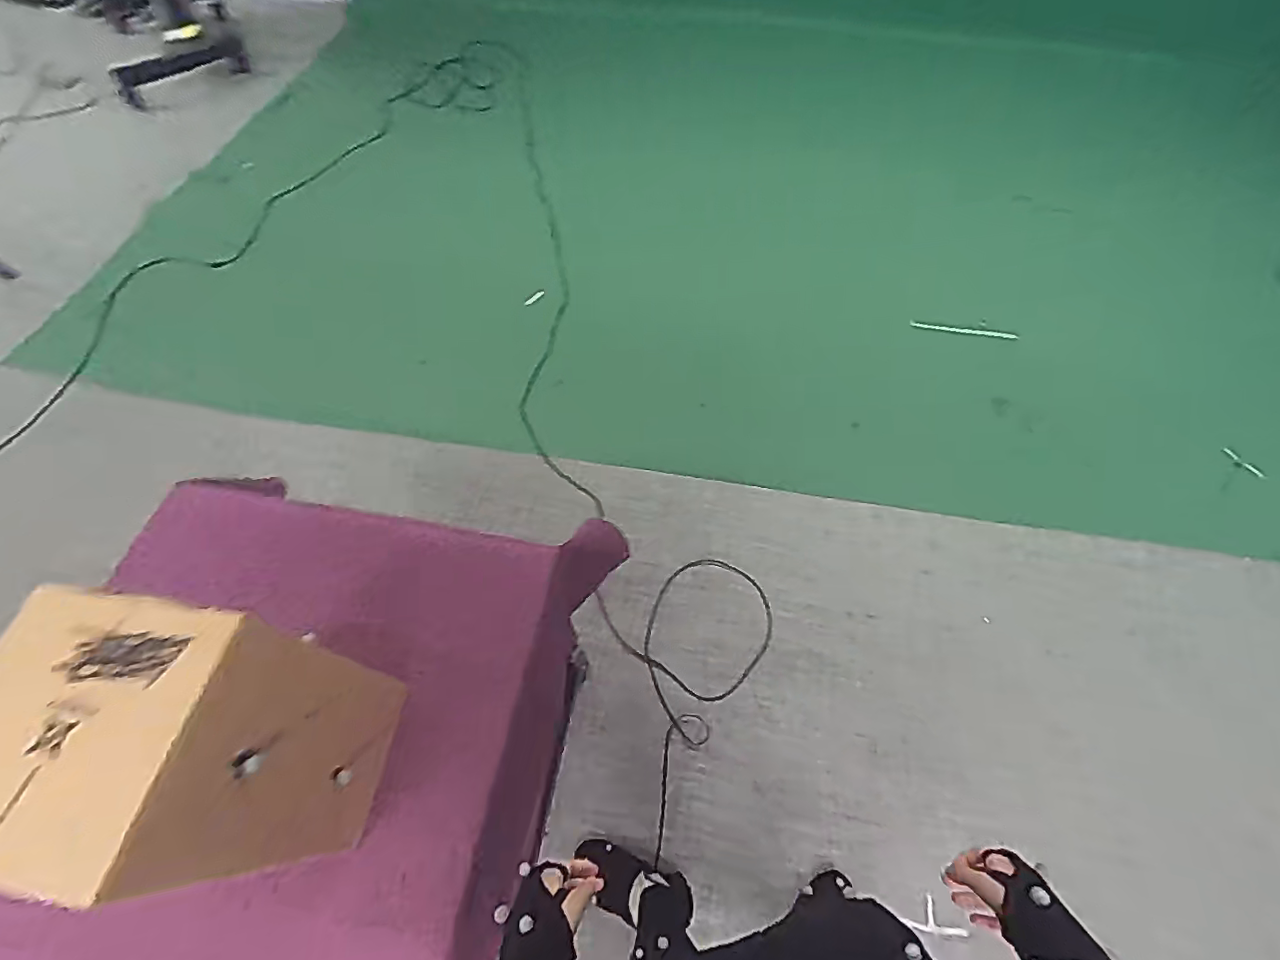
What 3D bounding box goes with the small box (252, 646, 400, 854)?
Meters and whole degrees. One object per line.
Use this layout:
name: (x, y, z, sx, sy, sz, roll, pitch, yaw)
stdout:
small box: (-0.387, 0.274, 0.580, 0.168, 0.176, 0.179, 7, 61, 4)
